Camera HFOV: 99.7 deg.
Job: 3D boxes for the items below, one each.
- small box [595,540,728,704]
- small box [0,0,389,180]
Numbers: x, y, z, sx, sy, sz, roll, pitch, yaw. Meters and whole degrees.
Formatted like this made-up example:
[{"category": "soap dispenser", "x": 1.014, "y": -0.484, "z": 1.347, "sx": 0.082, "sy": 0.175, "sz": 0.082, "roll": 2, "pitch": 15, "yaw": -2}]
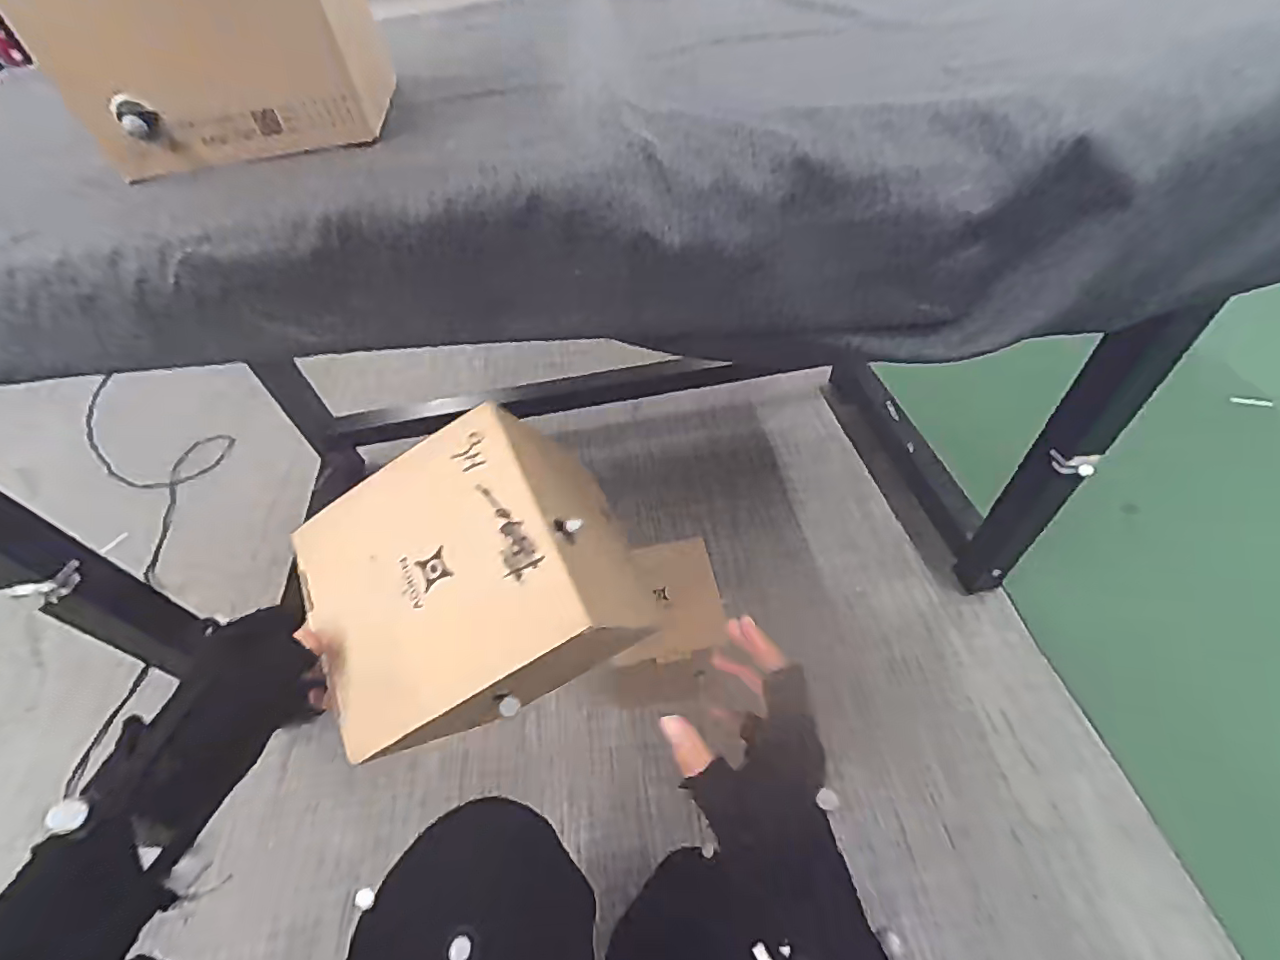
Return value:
[{"category": "small box", "x": 0.032, "y": 0.222, "z": 0.824, "sx": 0.168, "sy": 0.176, "sz": 0.179, "roll": -11, "pitch": 48, "yaw": -3}, {"category": "small box", "x": -0.288, "y": -0.320, "z": 0.362, "sx": 0.168, "sy": 0.176, "sz": 0.179, "roll": -13, "pitch": 47, "yaw": -5}]
